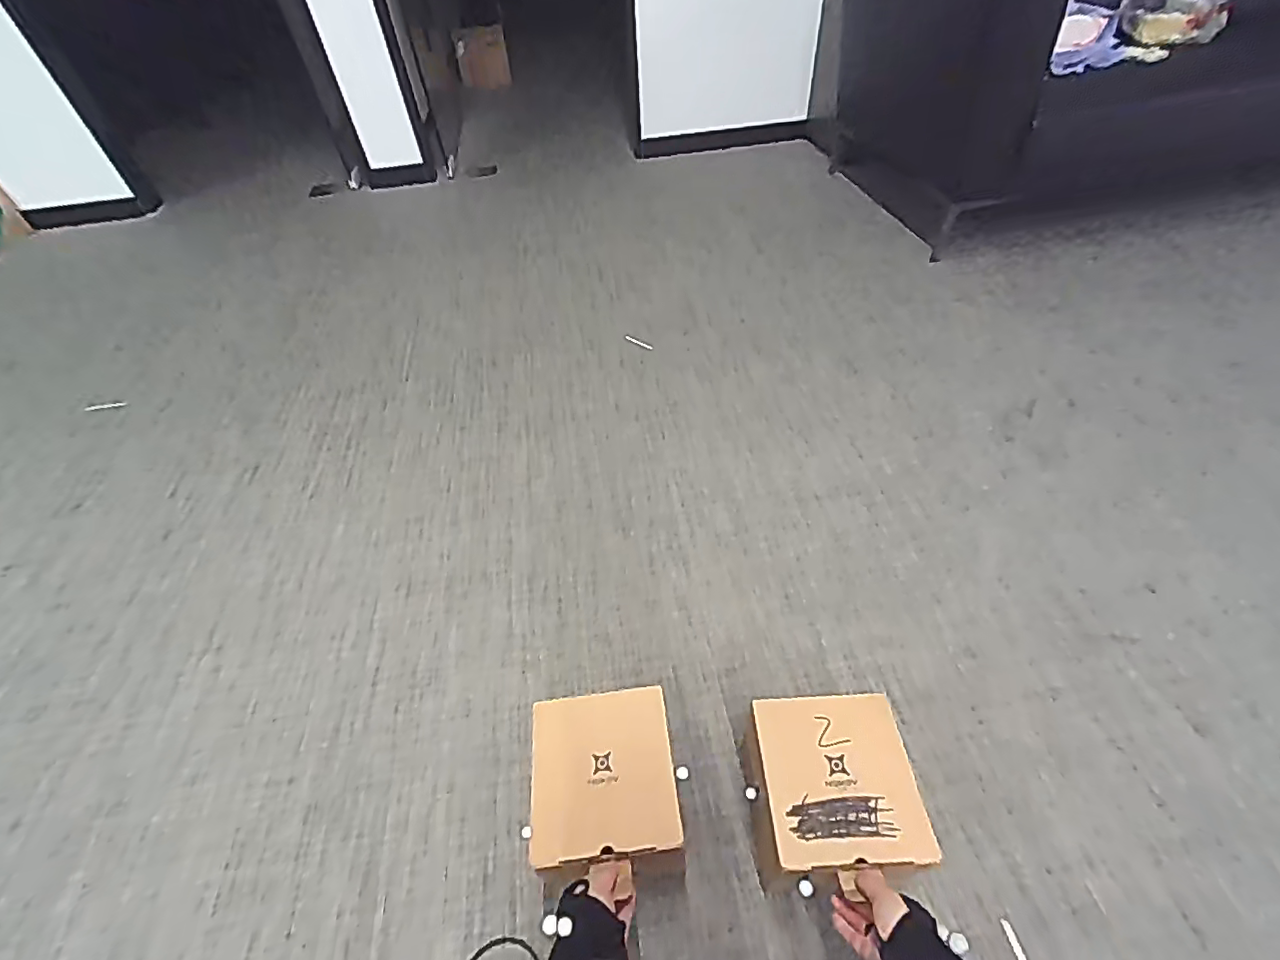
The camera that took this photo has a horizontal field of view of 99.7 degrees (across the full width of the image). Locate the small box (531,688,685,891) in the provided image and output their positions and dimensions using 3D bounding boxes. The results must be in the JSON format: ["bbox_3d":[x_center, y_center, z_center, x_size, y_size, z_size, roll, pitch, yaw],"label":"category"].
[{"bbox_3d":[-0.037,0.392,0.685,0.168,0.176,0.179,-9,47,-1],"label":"small box"}]
